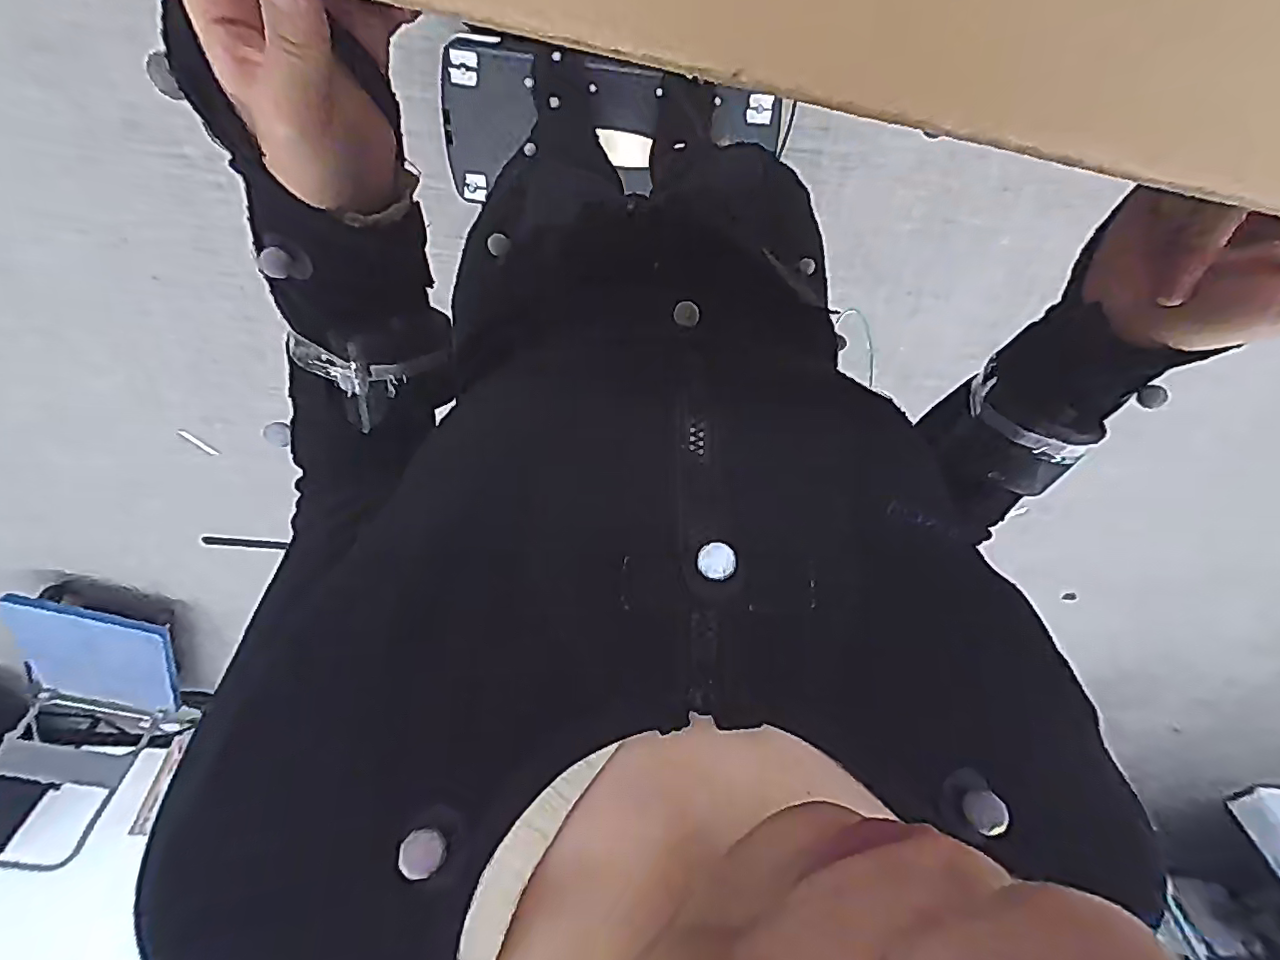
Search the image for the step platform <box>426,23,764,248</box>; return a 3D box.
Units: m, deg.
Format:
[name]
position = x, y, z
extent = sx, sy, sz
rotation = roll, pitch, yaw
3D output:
[step platform]
position = -0.091, -0.717, 1.152
extent = 0.684, 0.204, 0.286
rotation = 9, 131, -6
